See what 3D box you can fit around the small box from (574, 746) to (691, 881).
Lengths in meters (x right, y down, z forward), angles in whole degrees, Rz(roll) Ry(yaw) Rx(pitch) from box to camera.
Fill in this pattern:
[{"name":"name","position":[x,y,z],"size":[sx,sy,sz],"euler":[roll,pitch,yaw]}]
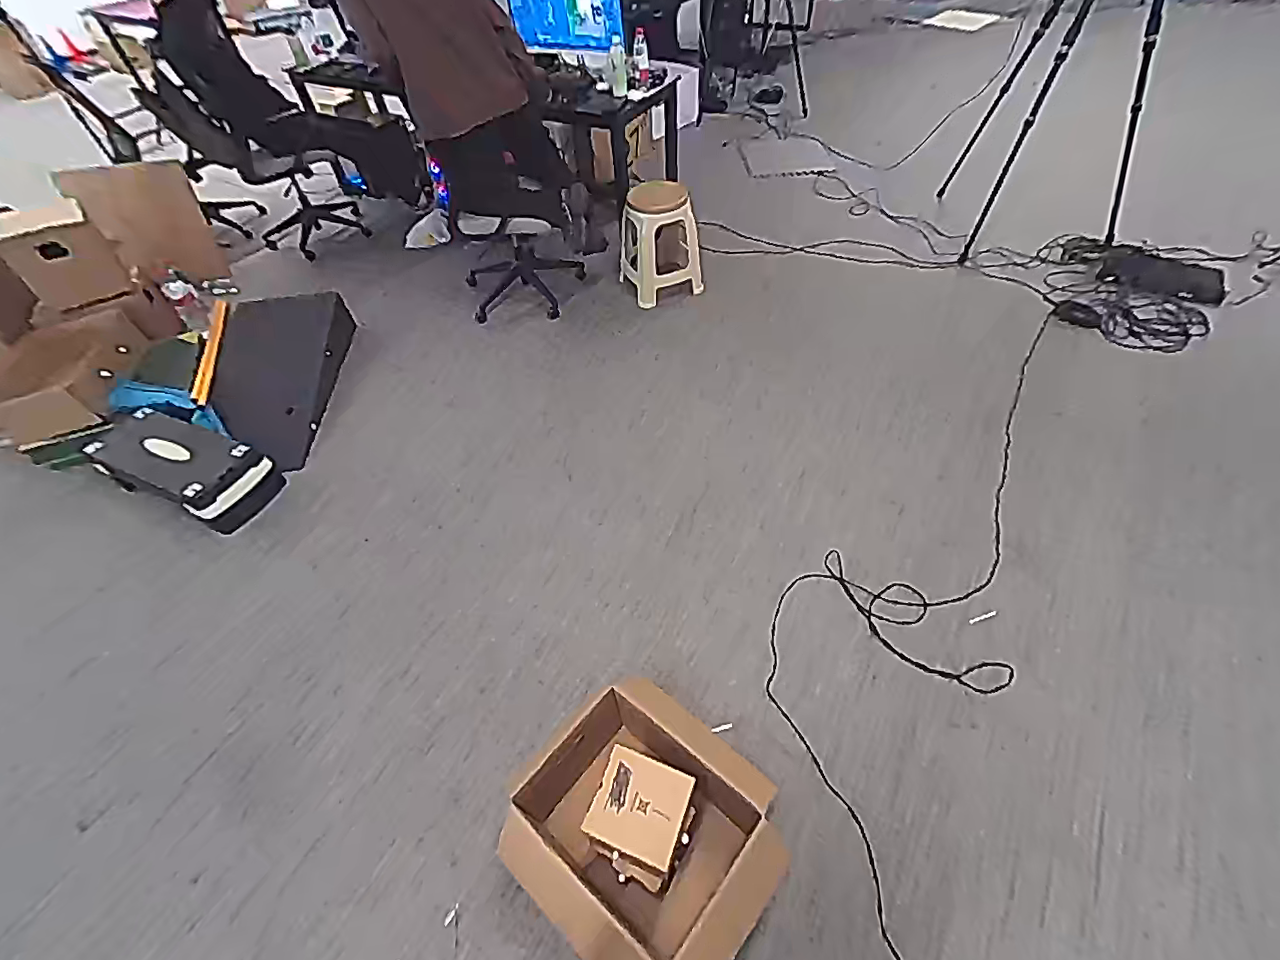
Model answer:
[{"name":"small box","position":[-0.008,0.674,1.088],"size":[0.179,0.176,0.168],"euler":[18,54,19]}]
